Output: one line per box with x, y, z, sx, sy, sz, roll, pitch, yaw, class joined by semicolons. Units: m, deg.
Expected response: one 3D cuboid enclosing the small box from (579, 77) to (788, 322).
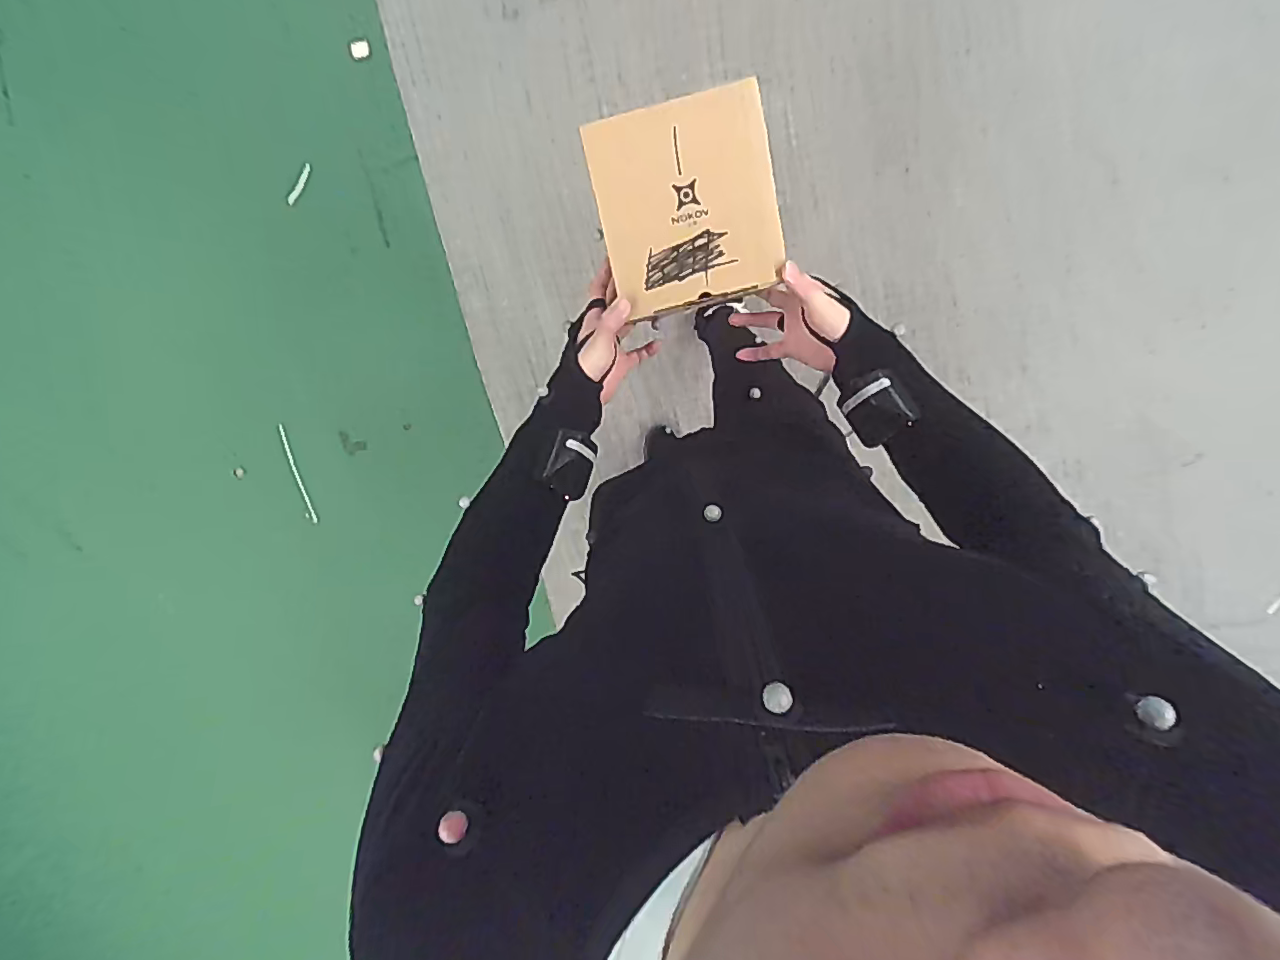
0.045;-0.270;0.569;0.168;0.176;0.179;-12;103;4;small box
